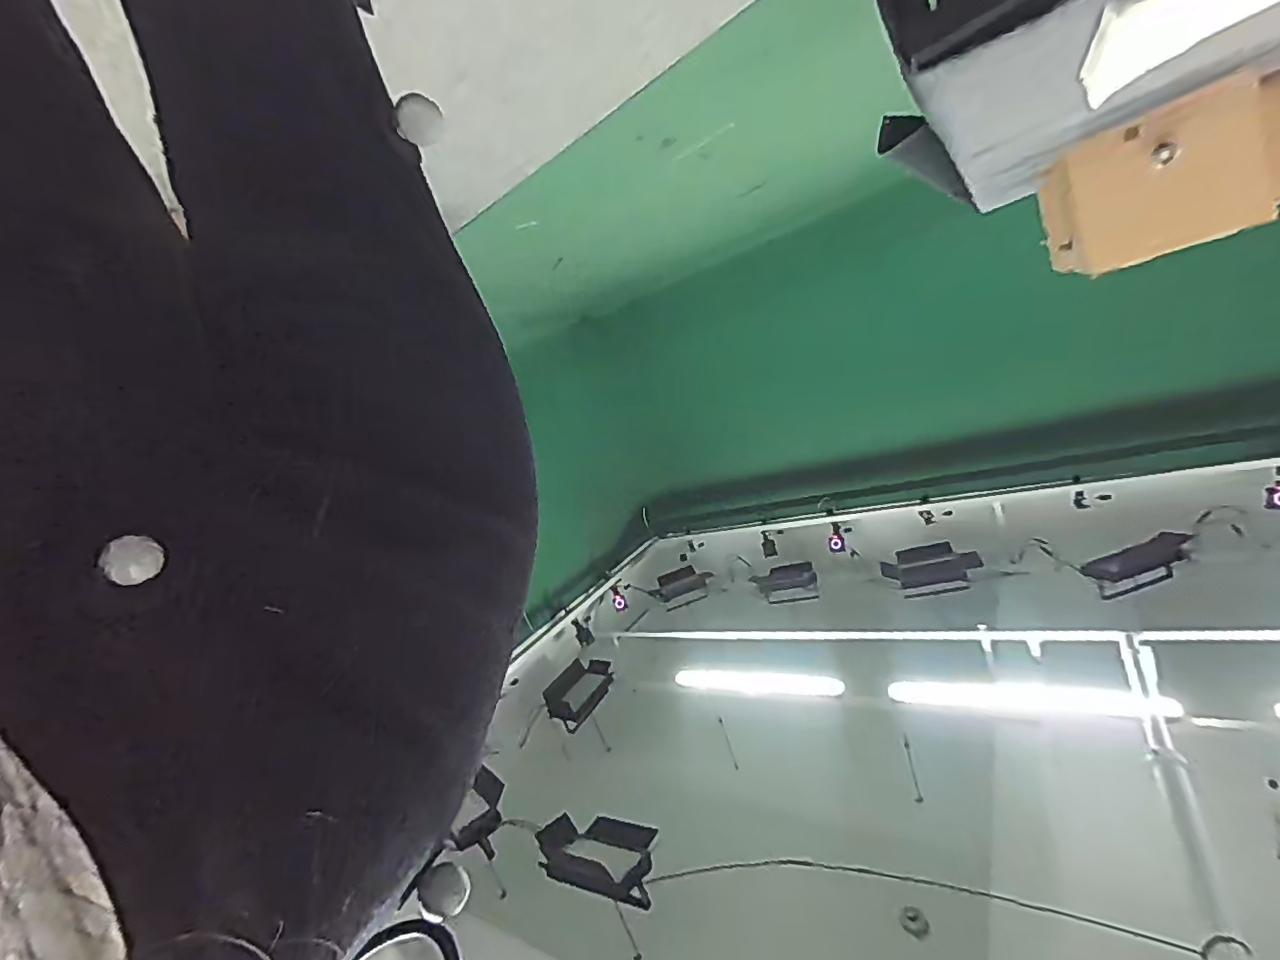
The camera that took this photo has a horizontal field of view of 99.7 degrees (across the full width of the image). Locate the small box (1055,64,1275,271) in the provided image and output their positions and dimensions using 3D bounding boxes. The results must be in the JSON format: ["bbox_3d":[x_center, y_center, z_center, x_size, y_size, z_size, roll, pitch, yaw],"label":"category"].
[{"bbox_3d":[0.657,-0.388,0.697,0.168,0.176,0.179,-13,-169,36],"label":"small box"}]
